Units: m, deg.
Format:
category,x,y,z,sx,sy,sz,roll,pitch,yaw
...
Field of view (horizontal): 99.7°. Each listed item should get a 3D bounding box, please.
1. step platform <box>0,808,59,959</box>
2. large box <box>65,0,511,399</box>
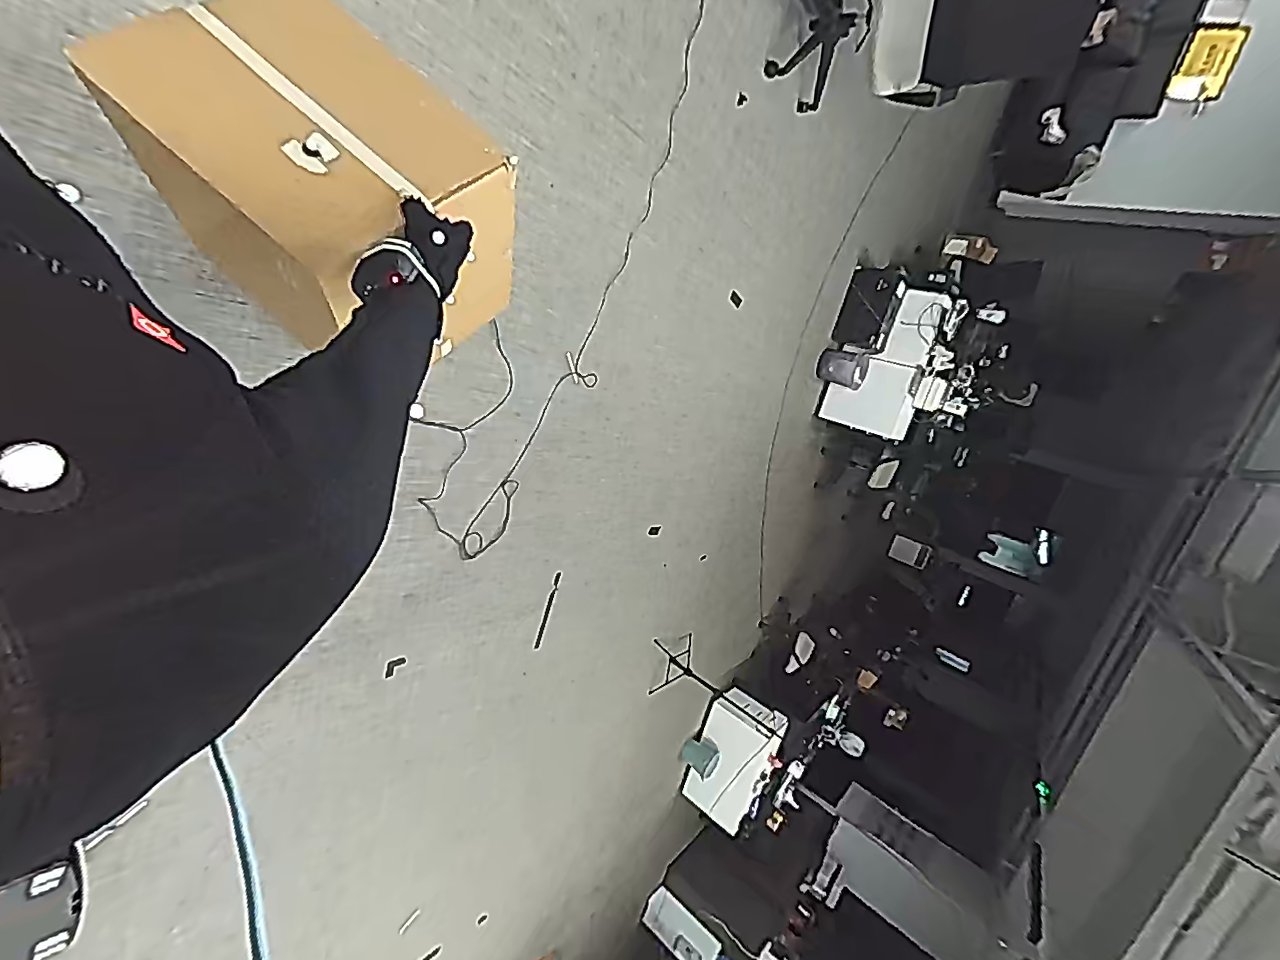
category,x,y,z,sx,sy,sz,roll,pitch,yaw
step platform,-1.576,0.936,1.000,0.684,0.204,0.286,-4,113,-51
large box,-0.458,-0.404,0.807,0.320,0.408,0.320,-48,179,-26
